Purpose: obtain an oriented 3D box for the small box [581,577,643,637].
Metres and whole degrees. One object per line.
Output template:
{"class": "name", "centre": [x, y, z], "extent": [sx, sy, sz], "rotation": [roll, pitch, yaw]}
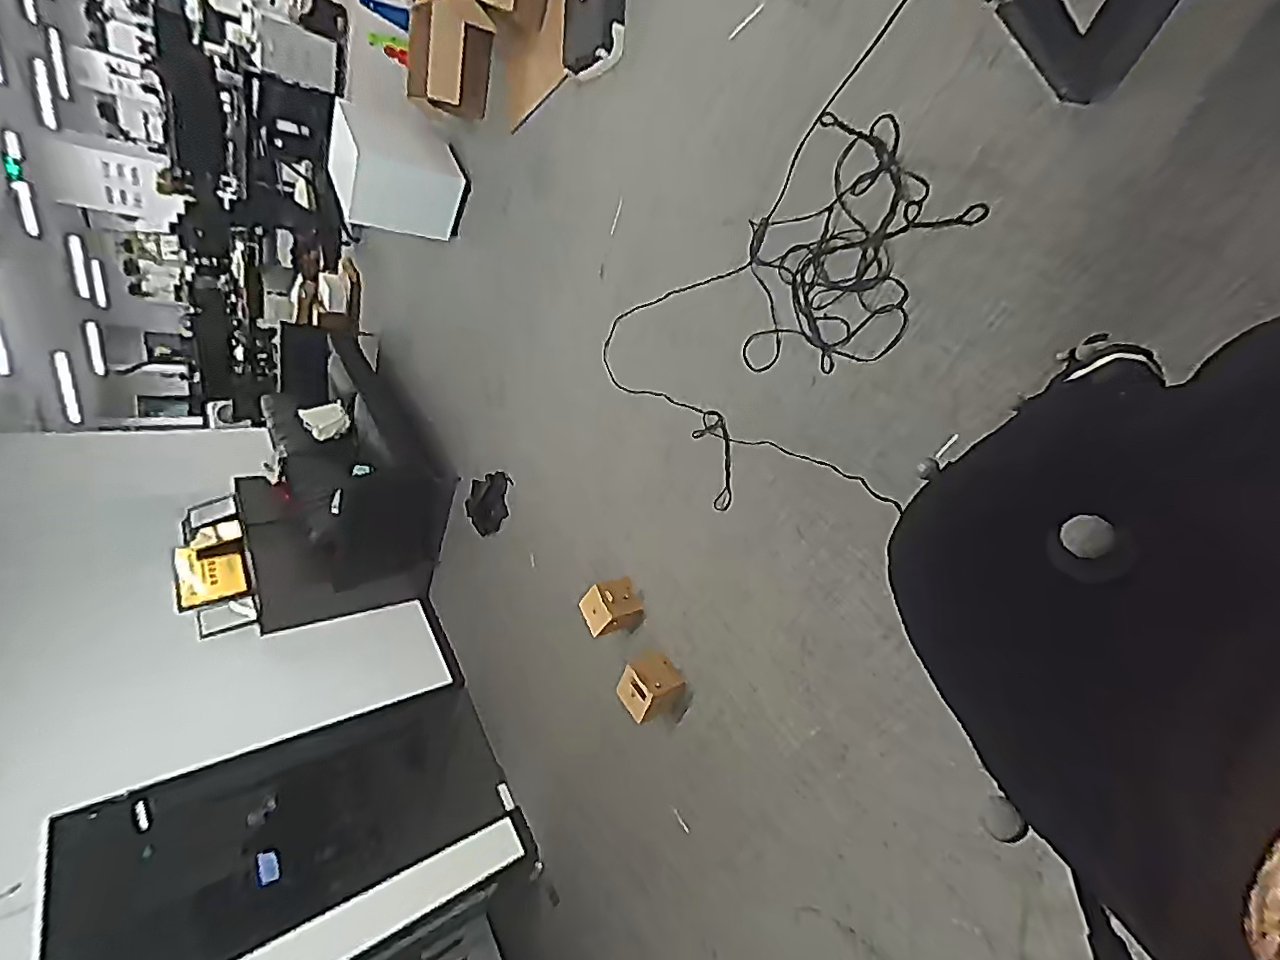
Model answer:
{"class": "small box", "centre": [-0.117, 0.529, 2.259], "extent": [0.168, 0.176, 0.179], "rotation": [59, 134, 27]}
